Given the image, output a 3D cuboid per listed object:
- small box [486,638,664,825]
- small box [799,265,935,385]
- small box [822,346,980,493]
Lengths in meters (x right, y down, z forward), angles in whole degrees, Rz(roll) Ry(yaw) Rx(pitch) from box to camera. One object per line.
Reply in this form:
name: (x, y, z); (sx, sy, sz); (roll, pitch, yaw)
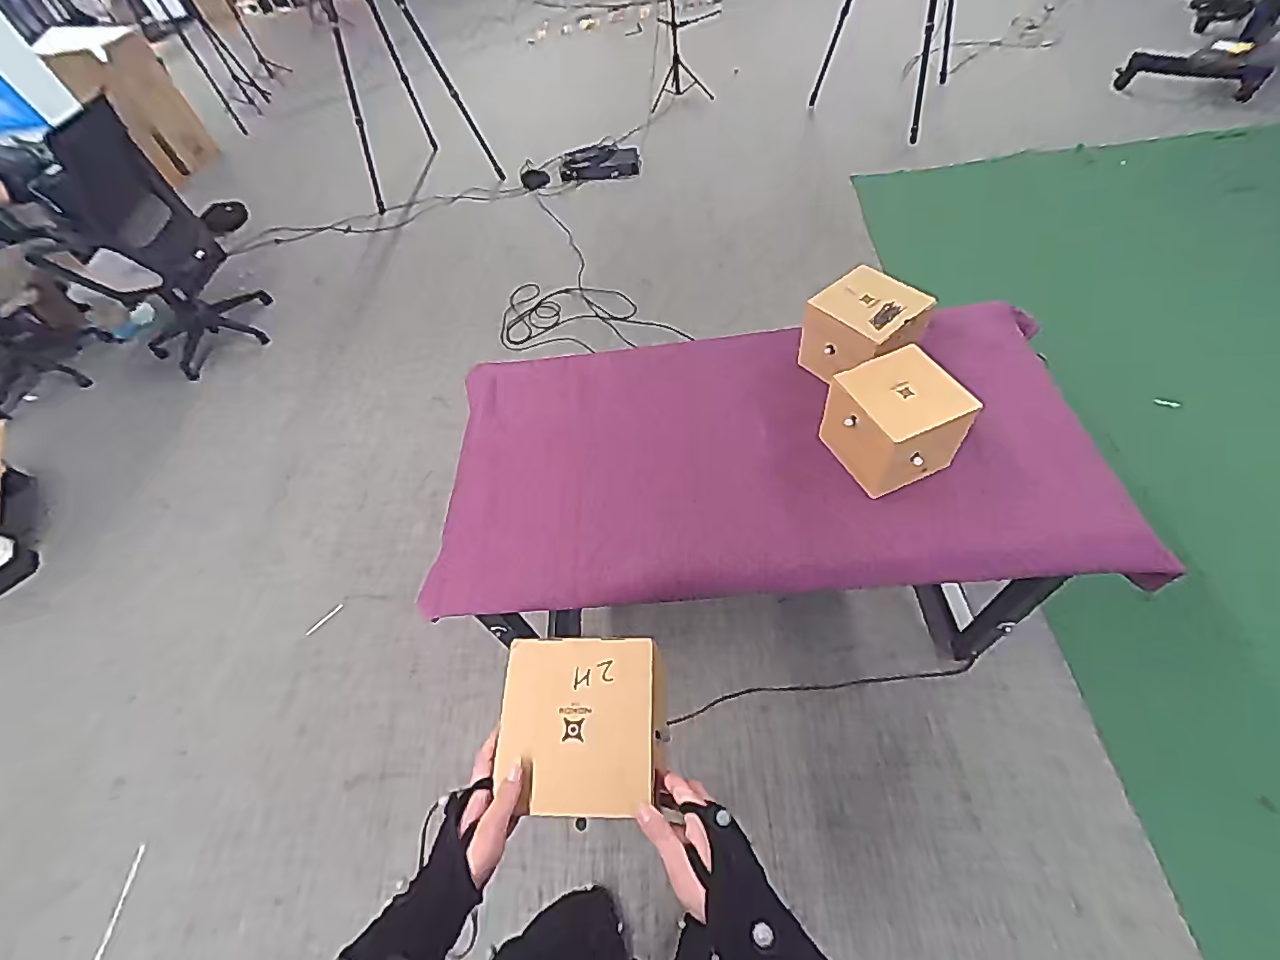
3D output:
small box: (-0.060, 0.292, 0.634); (0.168, 0.176, 0.179); (-2, 60, 7)
small box: (0.448, -0.292, 1.094); (0.168, 0.176, 0.179); (-35, 57, -15)
small box: (0.449, -0.099, 0.962); (0.168, 0.176, 0.179); (-22, 54, -7)
